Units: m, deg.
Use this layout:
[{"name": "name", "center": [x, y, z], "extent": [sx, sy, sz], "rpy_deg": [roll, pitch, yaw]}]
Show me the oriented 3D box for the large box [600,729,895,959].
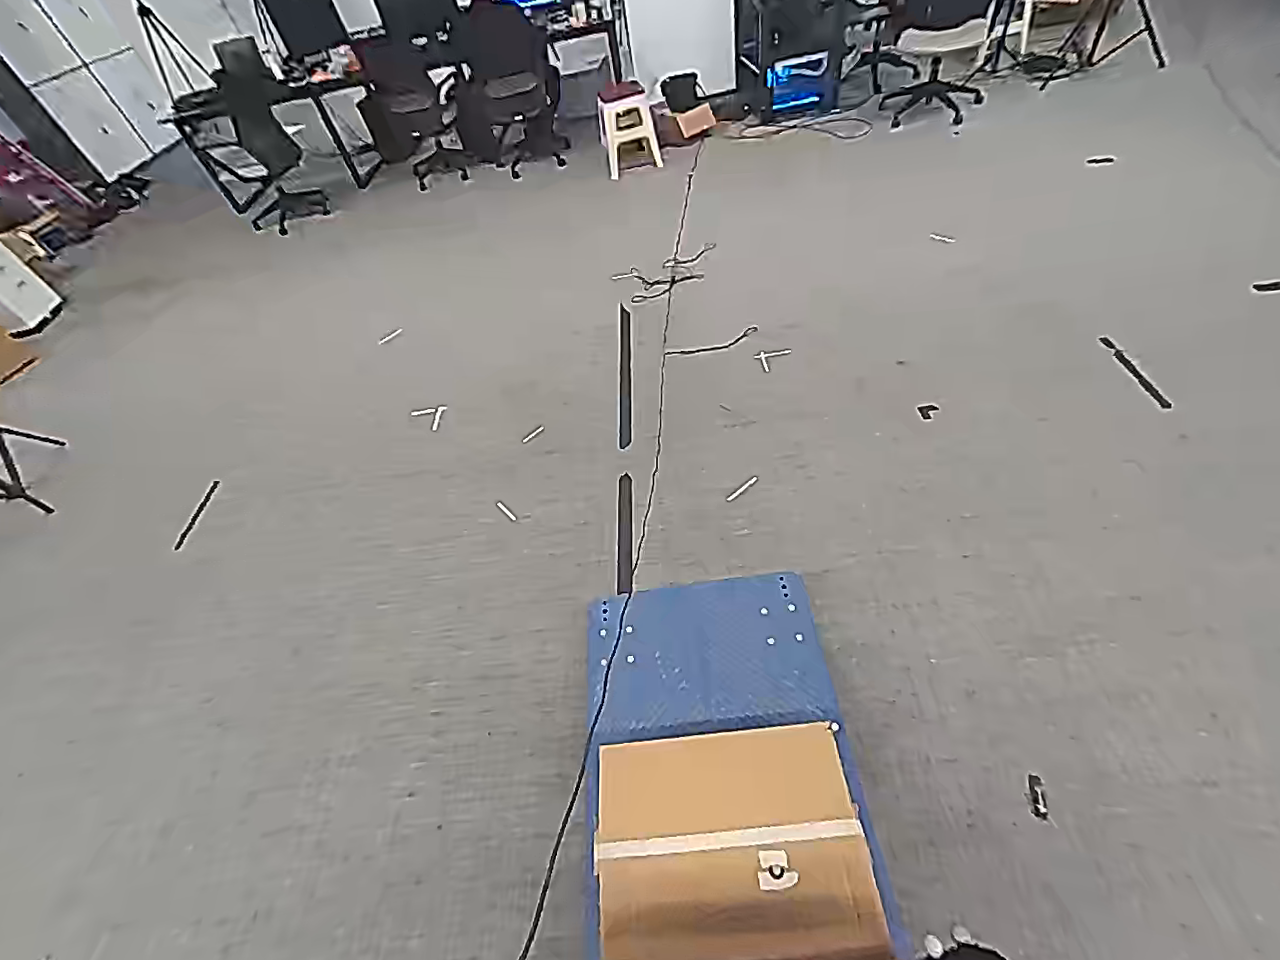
[{"name": "large box", "center": [0.156, 0.664, 0.936], "extent": [0.408, 0.320, 0.320], "rpy_deg": [-8, 48, 4]}]
